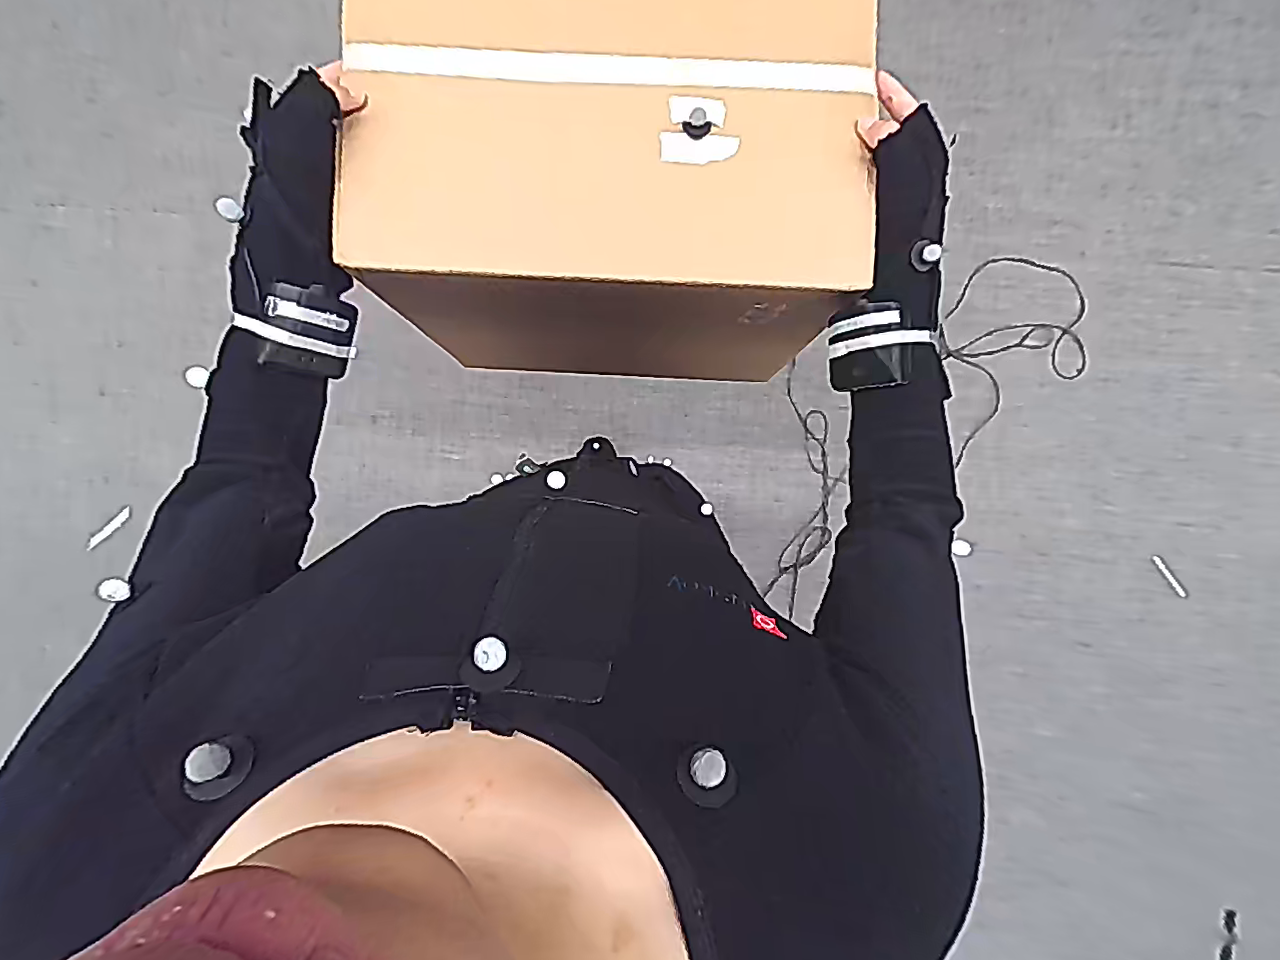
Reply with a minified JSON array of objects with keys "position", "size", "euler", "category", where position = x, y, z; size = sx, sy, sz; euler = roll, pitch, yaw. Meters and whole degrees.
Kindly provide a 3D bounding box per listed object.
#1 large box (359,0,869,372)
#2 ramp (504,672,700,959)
[{"position":[-0.021,-0.307,0.577],"size":[0.408,0.320,0.320],"euler":[2,88,-1],"category":"large box"},{"position":[-0.099,1.034,1.420],"size":[0.509,0.206,0.991],"euler":[1,91,2],"category":"ramp"}]
